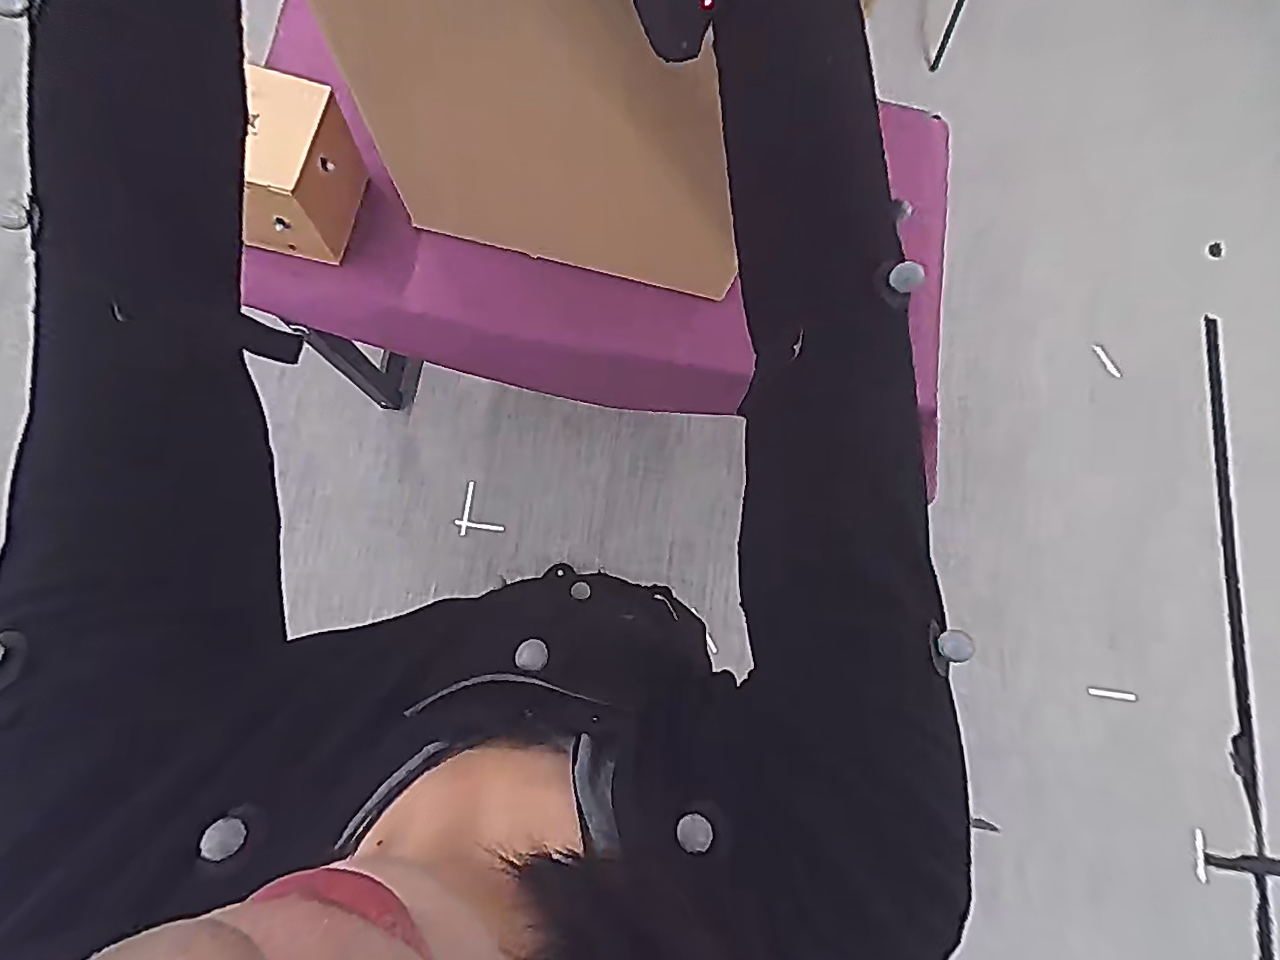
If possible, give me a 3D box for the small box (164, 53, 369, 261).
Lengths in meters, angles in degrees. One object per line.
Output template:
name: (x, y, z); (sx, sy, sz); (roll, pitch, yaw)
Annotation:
small box: (-0.521, -0.453, 0.786); (0.168, 0.176, 0.179); (12, 76, -8)
